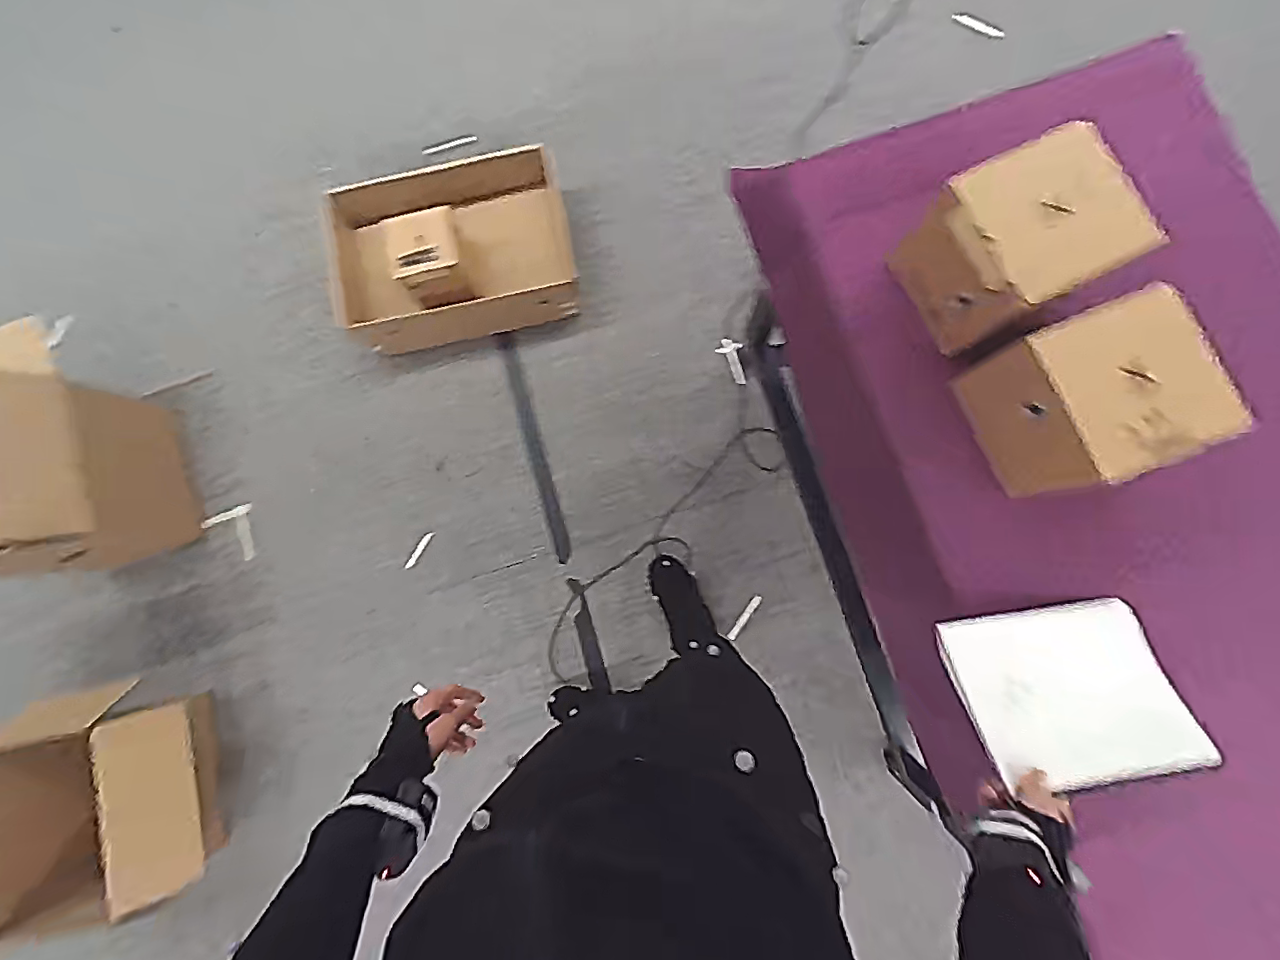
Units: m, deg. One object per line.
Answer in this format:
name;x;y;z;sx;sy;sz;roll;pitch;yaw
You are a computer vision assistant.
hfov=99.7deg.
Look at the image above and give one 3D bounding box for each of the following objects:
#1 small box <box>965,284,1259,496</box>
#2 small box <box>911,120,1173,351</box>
small box;0.534;-0.093;0.644;0.168;0.176;0.179;-21;83;1
small box;0.470;-0.286;0.673;0.179;0.176;0.168;-25;83;0
